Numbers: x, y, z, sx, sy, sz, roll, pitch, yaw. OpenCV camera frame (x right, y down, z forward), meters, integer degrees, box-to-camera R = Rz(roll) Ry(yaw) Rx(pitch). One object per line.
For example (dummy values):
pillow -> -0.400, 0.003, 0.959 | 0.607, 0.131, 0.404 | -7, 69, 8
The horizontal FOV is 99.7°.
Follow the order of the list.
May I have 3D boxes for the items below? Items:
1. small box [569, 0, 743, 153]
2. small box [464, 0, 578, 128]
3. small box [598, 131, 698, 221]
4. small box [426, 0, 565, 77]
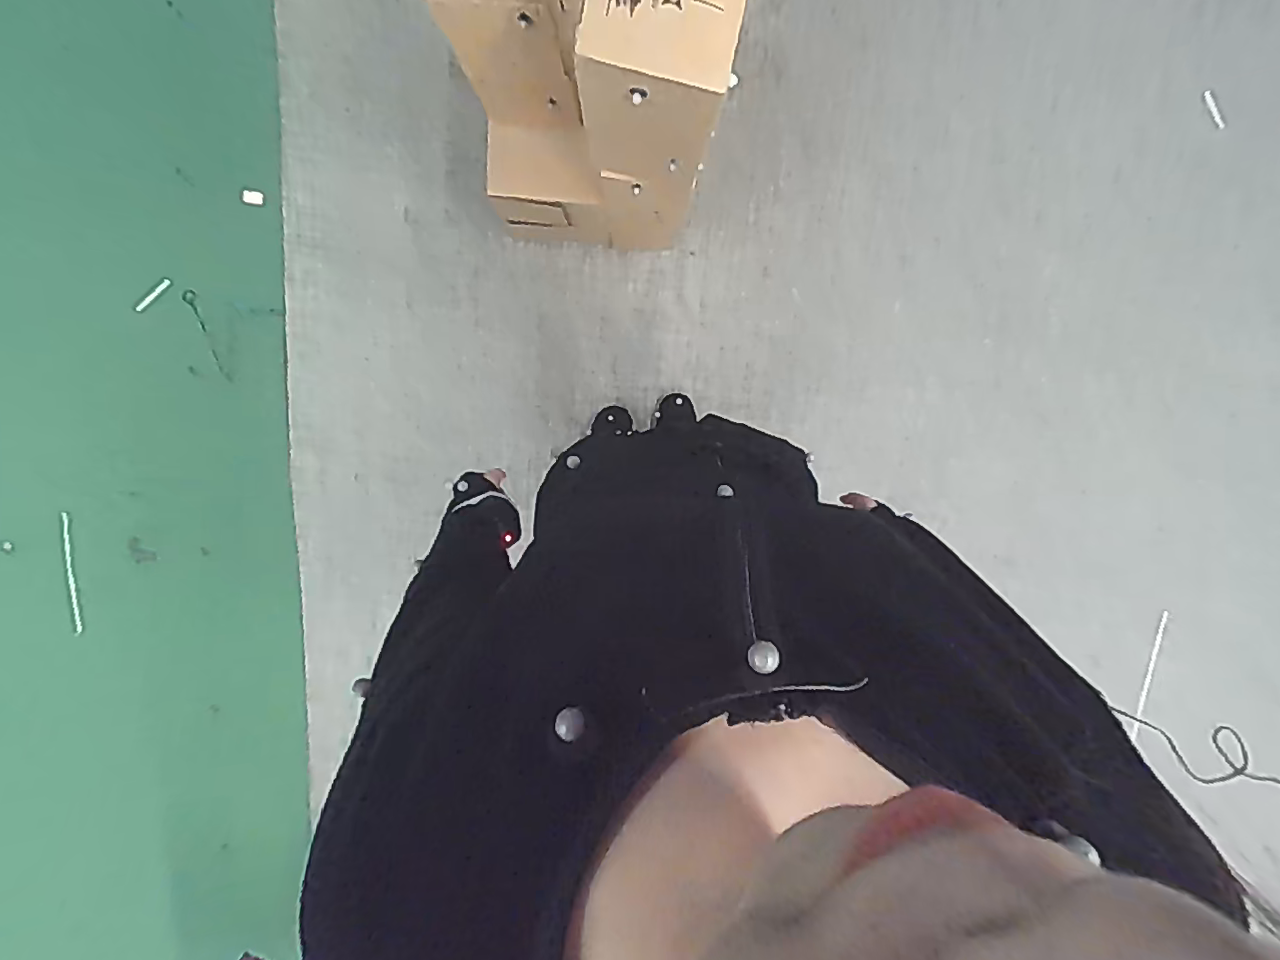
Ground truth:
small box -> 0.022, -0.537, 0.666 | 0.179, 0.176, 0.168 | 12, 100, -4
small box -> -0.204, -0.760, 0.966 | 0.179, 0.176, 0.168 | 2, 98, 0
small box -> 0.018, -0.601, 0.989 | 0.168, 0.176, 0.179 | 8, 99, -2
small box -> -0.210, -0.739, 0.805 | 0.179, 0.176, 0.168 | 3, 97, -2
